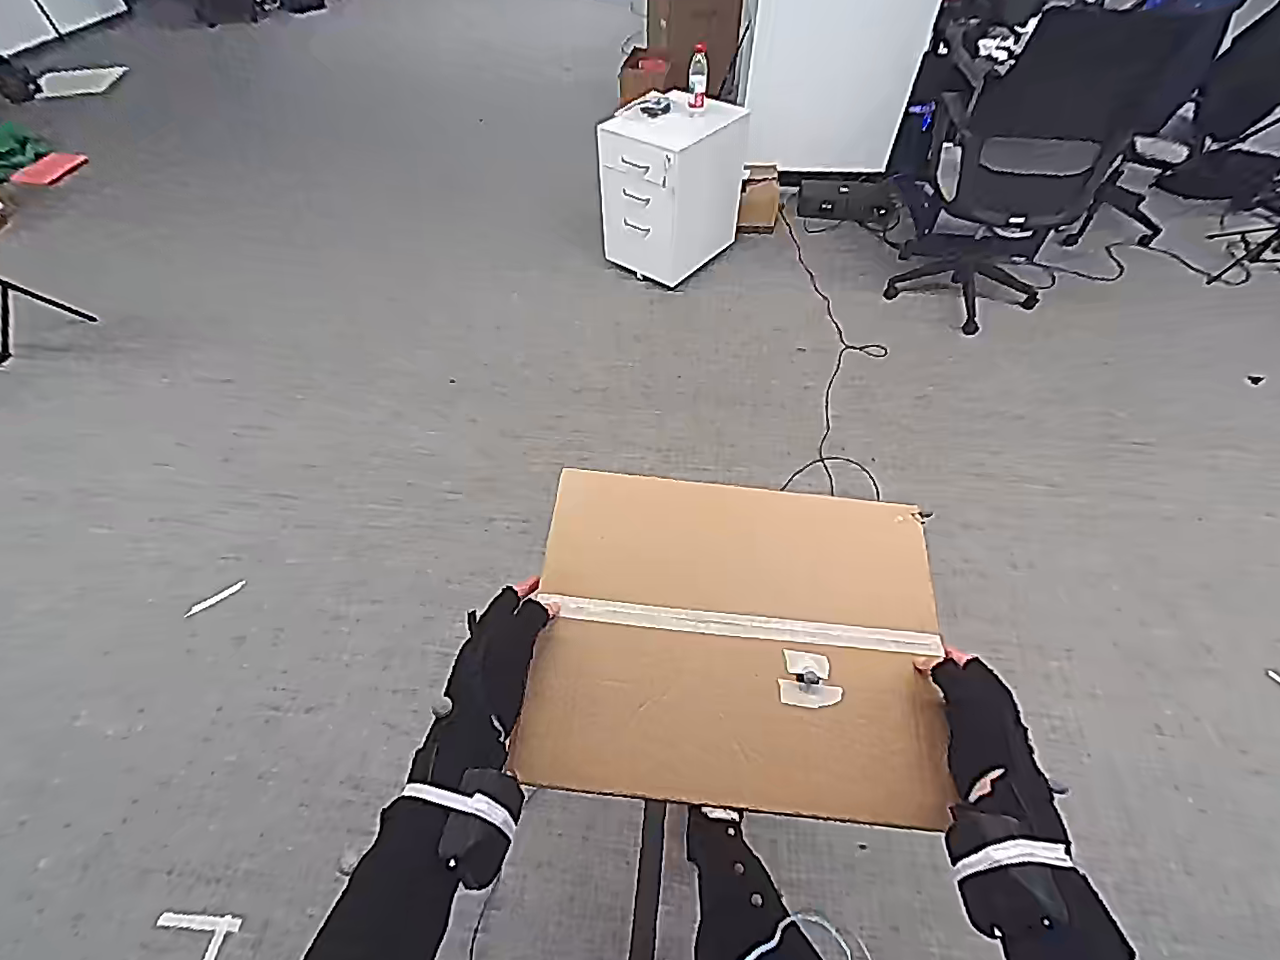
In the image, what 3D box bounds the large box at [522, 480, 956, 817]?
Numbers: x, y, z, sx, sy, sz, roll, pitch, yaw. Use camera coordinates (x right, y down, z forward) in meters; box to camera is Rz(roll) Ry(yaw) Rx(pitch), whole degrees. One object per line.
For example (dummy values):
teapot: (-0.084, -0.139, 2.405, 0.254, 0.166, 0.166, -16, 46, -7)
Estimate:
large box: (0.093, 0.222, 0.686, 0.408, 0.320, 0.320, 6, 62, 0)
